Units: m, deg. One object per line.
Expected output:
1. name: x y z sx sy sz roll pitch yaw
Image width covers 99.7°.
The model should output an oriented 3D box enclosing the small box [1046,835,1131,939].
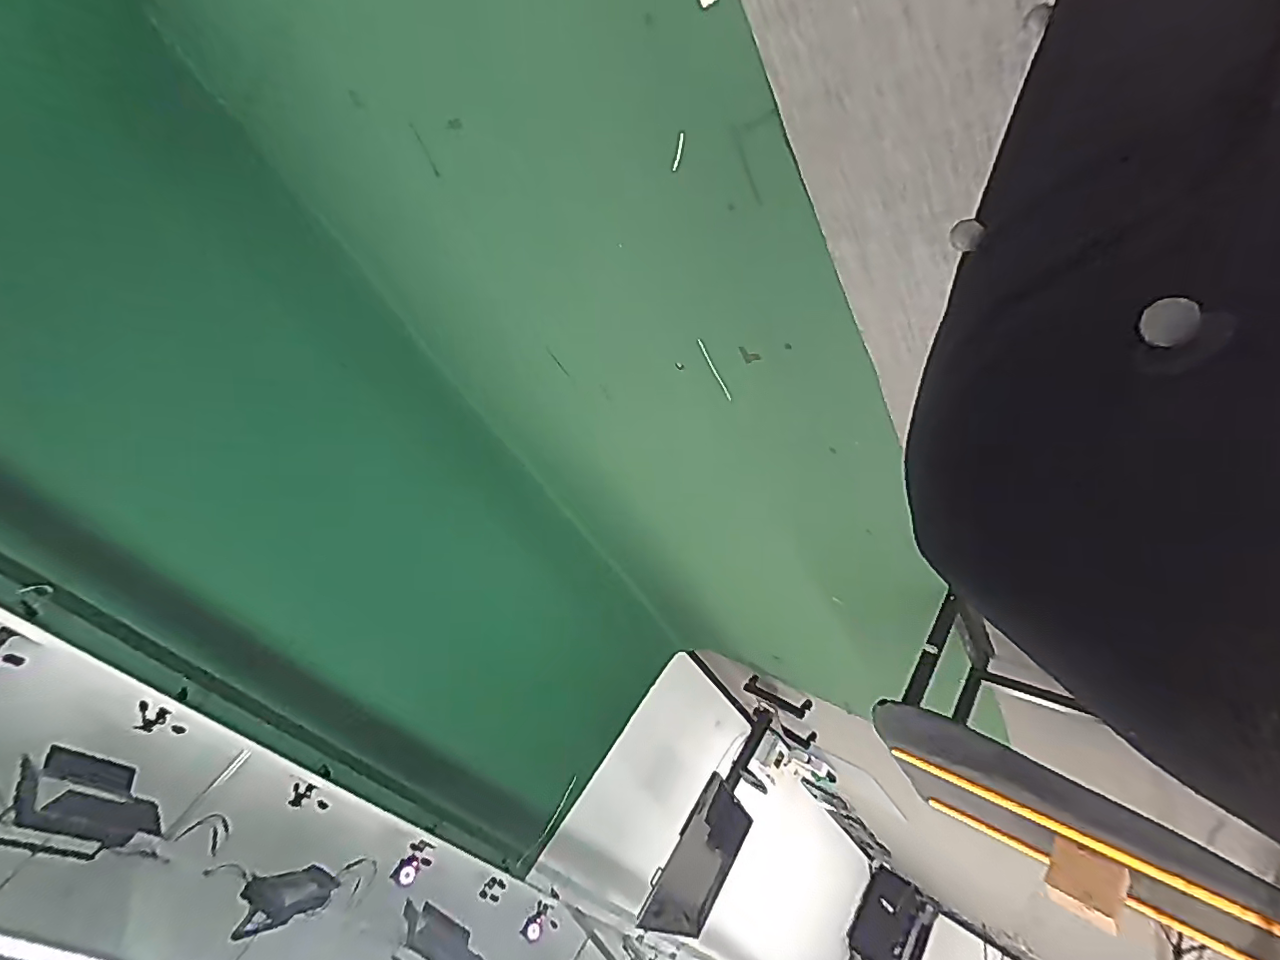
1. small box: 1.359 1.223 1.634 0.168 0.176 0.179 6 141 50
